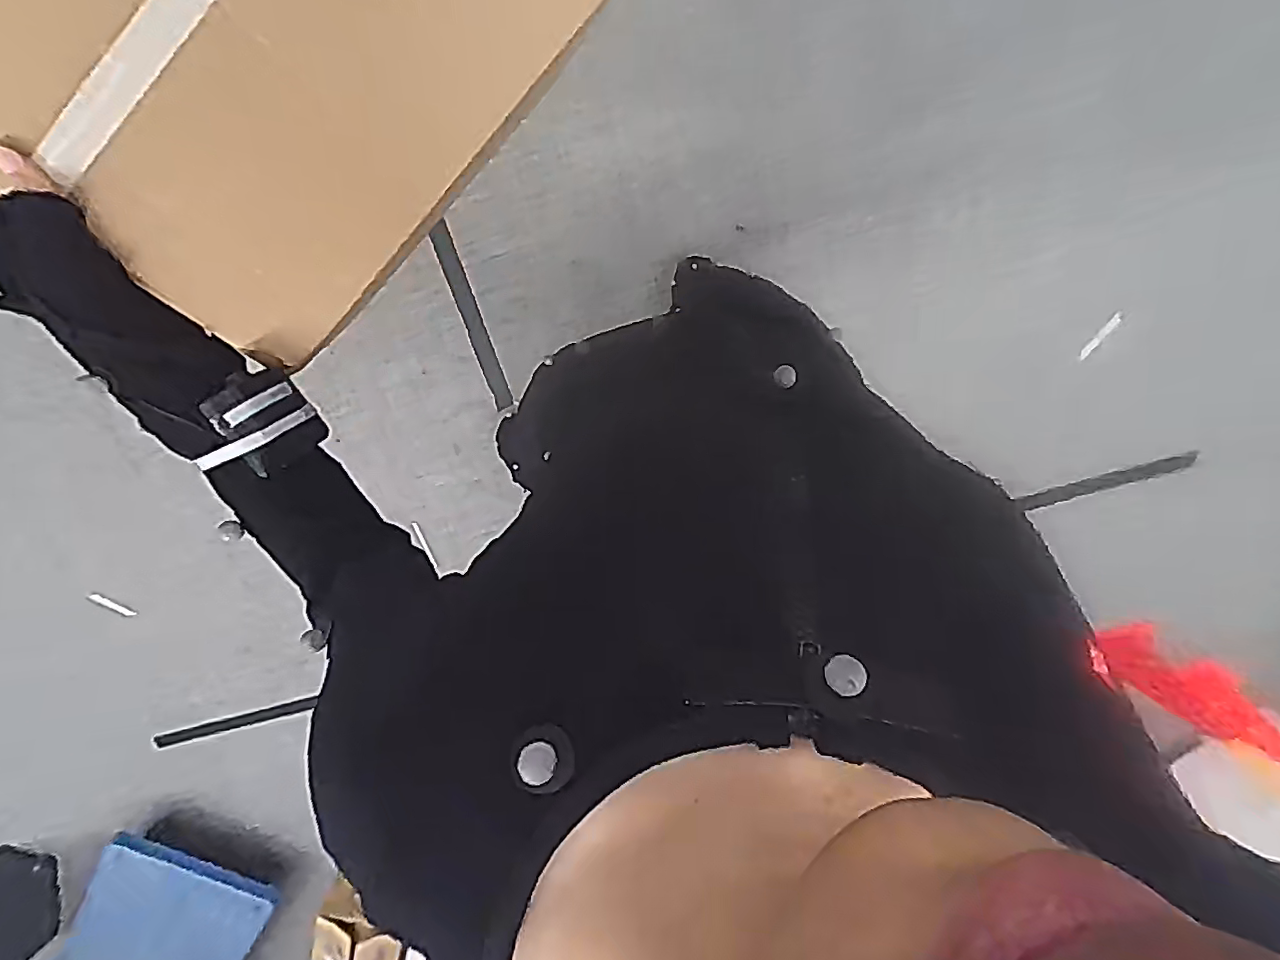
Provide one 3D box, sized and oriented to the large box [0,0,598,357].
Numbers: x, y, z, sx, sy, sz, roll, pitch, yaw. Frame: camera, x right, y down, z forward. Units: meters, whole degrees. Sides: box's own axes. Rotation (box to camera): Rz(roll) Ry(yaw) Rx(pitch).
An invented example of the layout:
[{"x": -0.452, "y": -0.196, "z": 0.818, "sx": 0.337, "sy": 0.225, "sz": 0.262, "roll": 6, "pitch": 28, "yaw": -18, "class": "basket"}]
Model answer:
[{"x": -0.276, "y": -0.372, "z": 0.443, "sx": 0.320, "sy": 0.320, "sz": 0.408, "roll": 39, "pitch": 95, "yaw": -29, "class": "large box"}]
